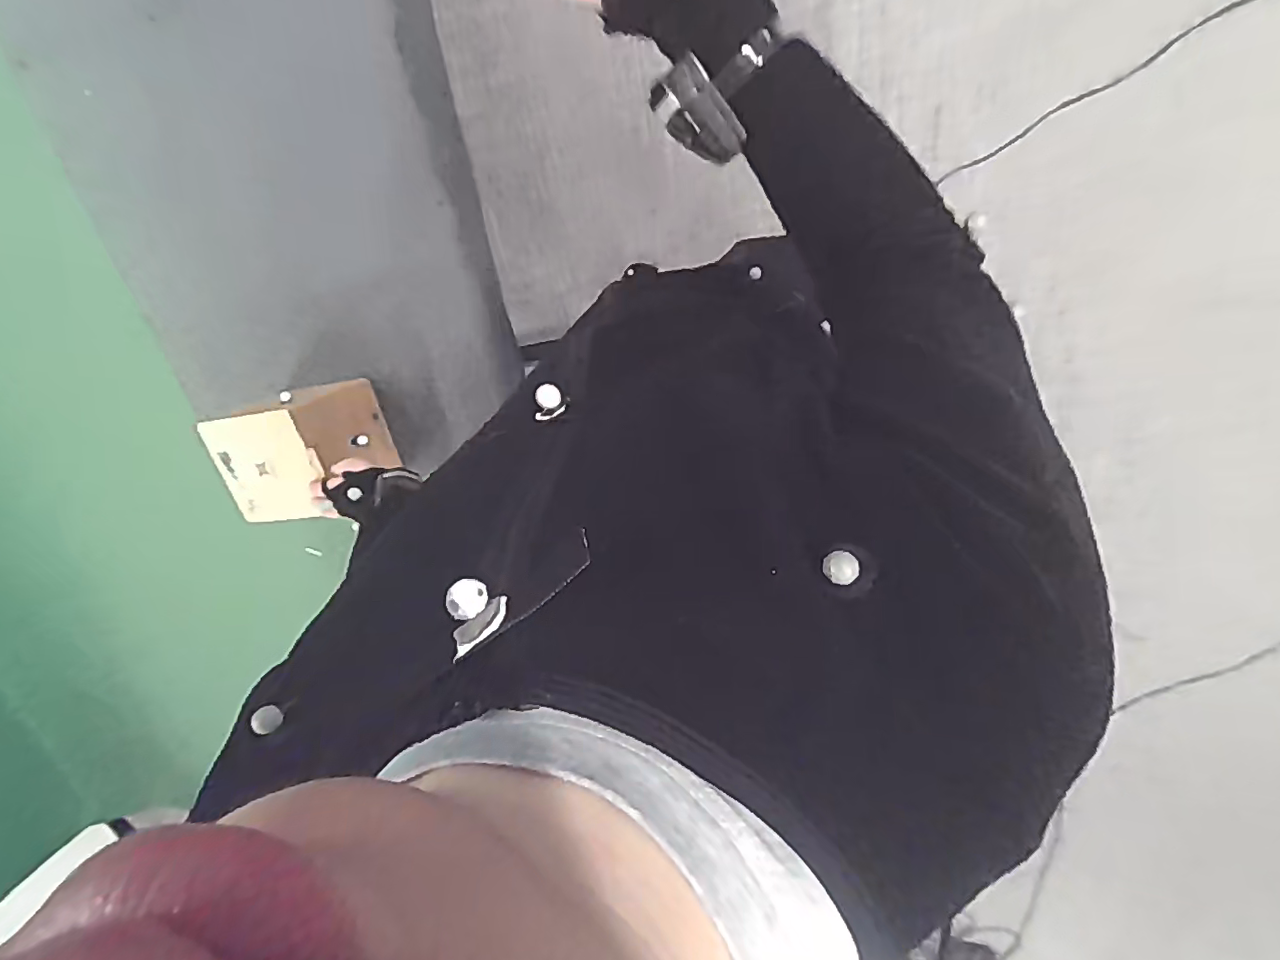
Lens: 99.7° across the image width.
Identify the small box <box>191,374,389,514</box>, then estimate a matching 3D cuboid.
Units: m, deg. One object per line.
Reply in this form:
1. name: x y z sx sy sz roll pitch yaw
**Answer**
1. small box: -0.527 -0.061 0.849 0.179 0.176 0.168 -5 113 14
